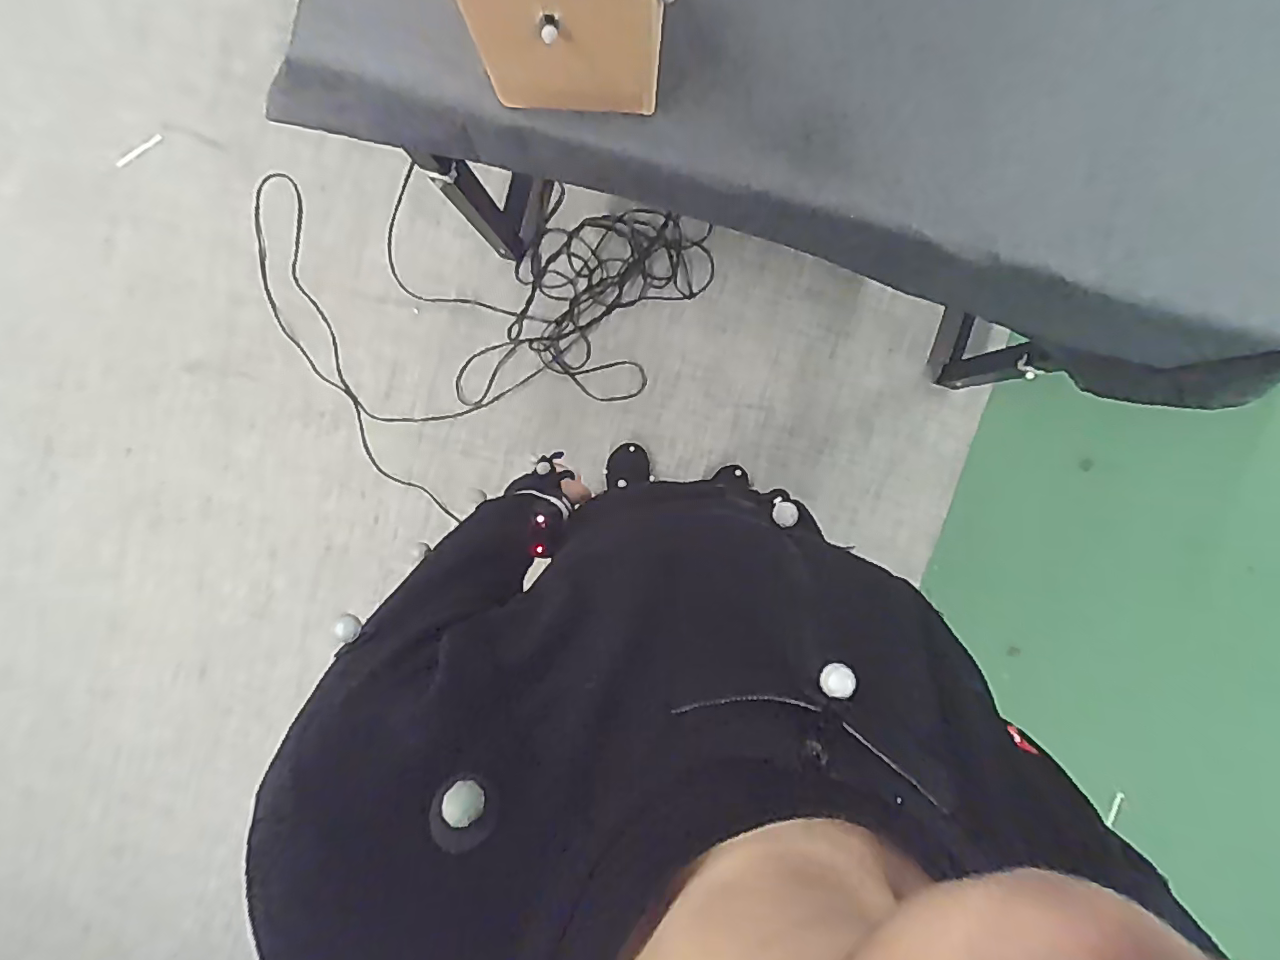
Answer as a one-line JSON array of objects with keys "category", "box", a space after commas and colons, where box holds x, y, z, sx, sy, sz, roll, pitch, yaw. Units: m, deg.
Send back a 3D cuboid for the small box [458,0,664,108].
[{"category": "small box", "box": [-0.064, -0.495, 0.522, 0.179, 0.176, 0.168, 5, 94, 2]}]
